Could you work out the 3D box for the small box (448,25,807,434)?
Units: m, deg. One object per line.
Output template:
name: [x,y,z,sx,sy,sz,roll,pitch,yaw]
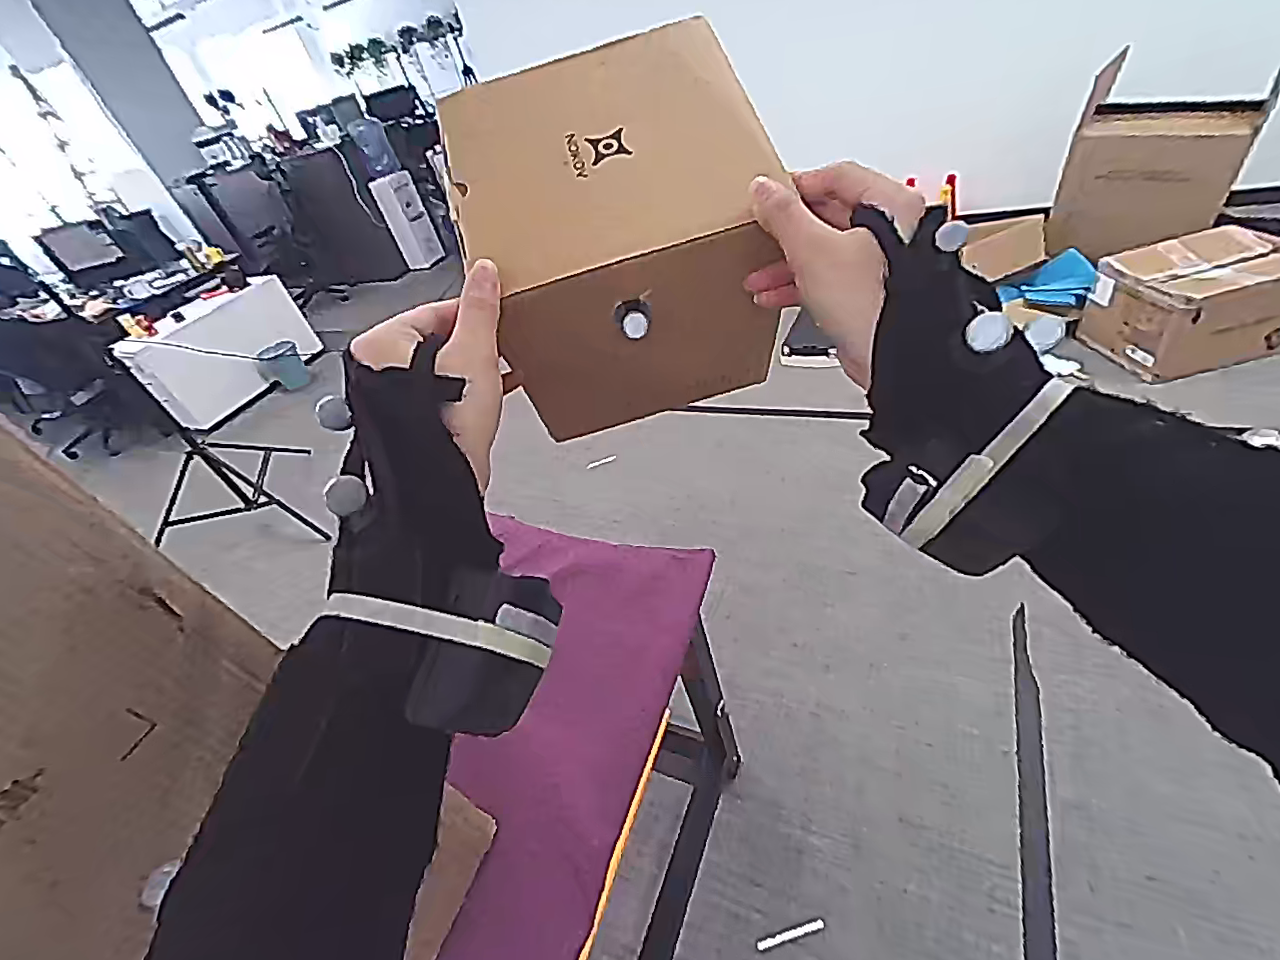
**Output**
small box: [-0.008,-0.154,0.378,0.179,0.176,0.168,-16,68,1]
